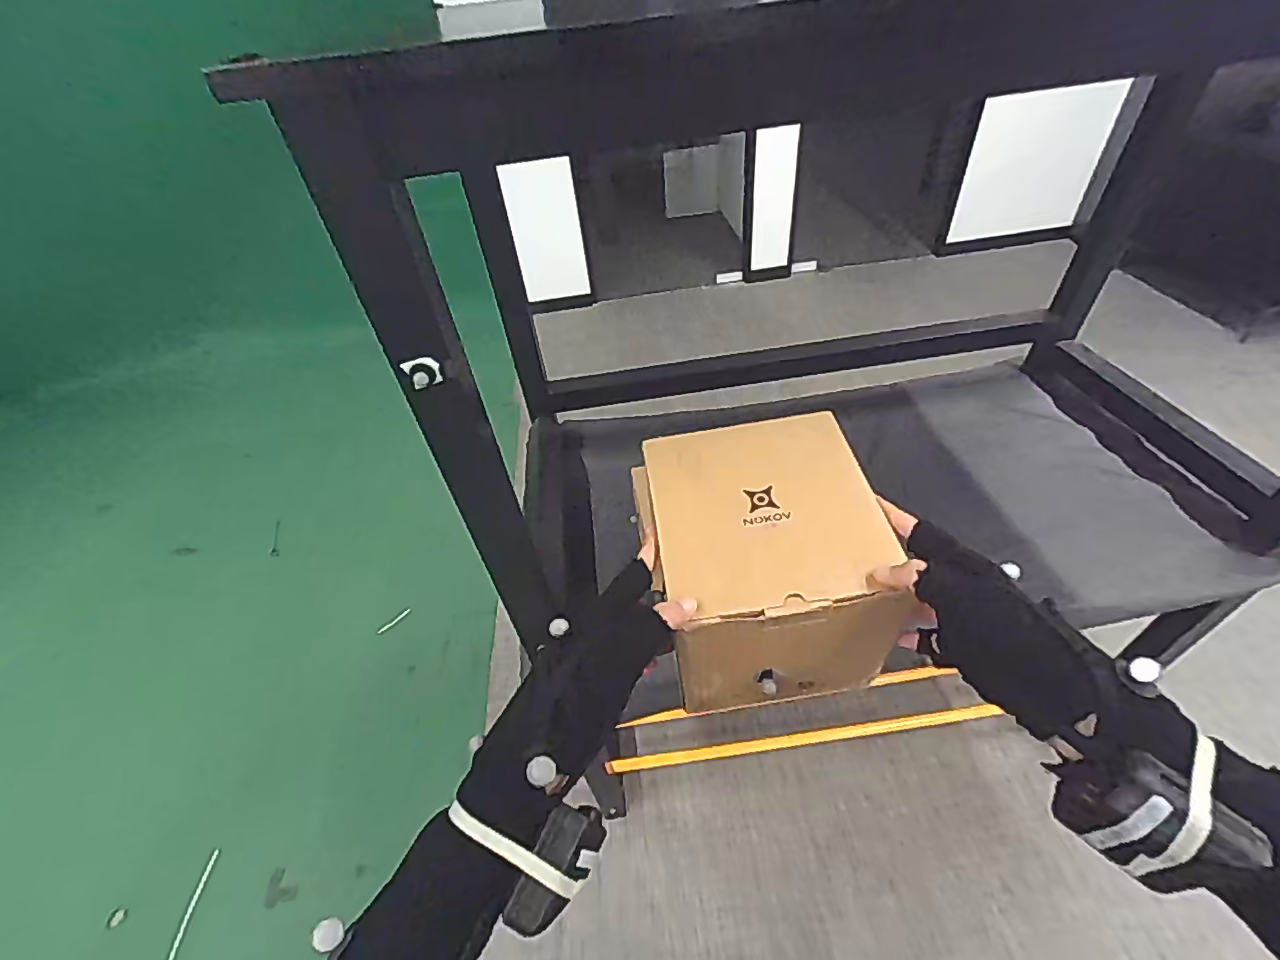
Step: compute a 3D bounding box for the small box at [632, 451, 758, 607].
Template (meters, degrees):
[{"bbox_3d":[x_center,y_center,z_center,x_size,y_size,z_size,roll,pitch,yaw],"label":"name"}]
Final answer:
[{"bbox_3d":[0.084,0.079,0.882,0.168,0.176,0.179,-10,43,-2],"label":"small box"}]
